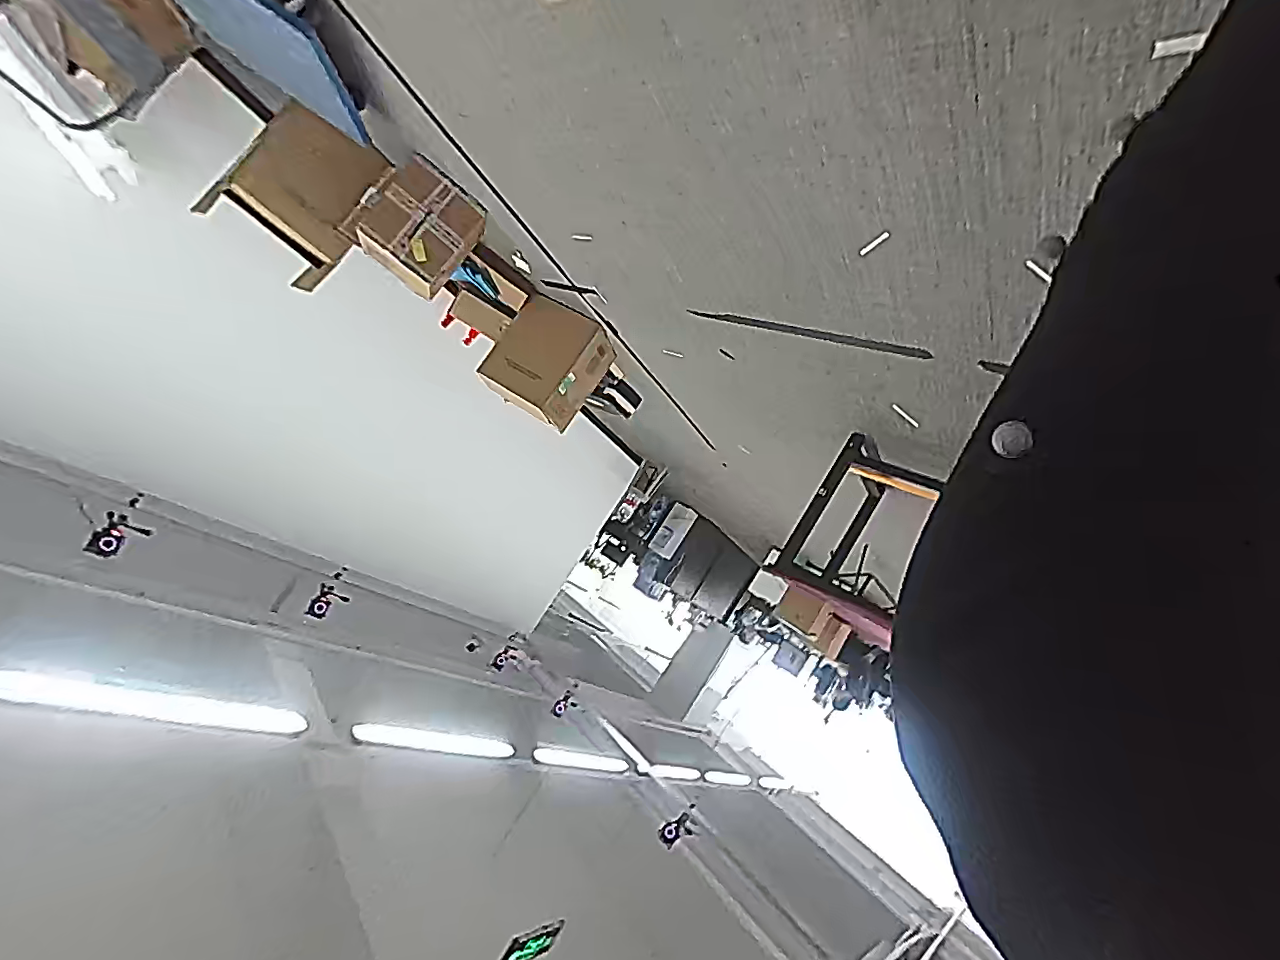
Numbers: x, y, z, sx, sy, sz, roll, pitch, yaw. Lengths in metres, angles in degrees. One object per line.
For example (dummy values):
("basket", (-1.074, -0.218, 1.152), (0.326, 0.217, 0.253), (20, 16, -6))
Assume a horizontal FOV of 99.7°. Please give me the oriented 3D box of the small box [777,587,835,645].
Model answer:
("small box", (0.739, 0.597, 2.380), (0.179, 0.176, 0.168), (28, 172, 40))
